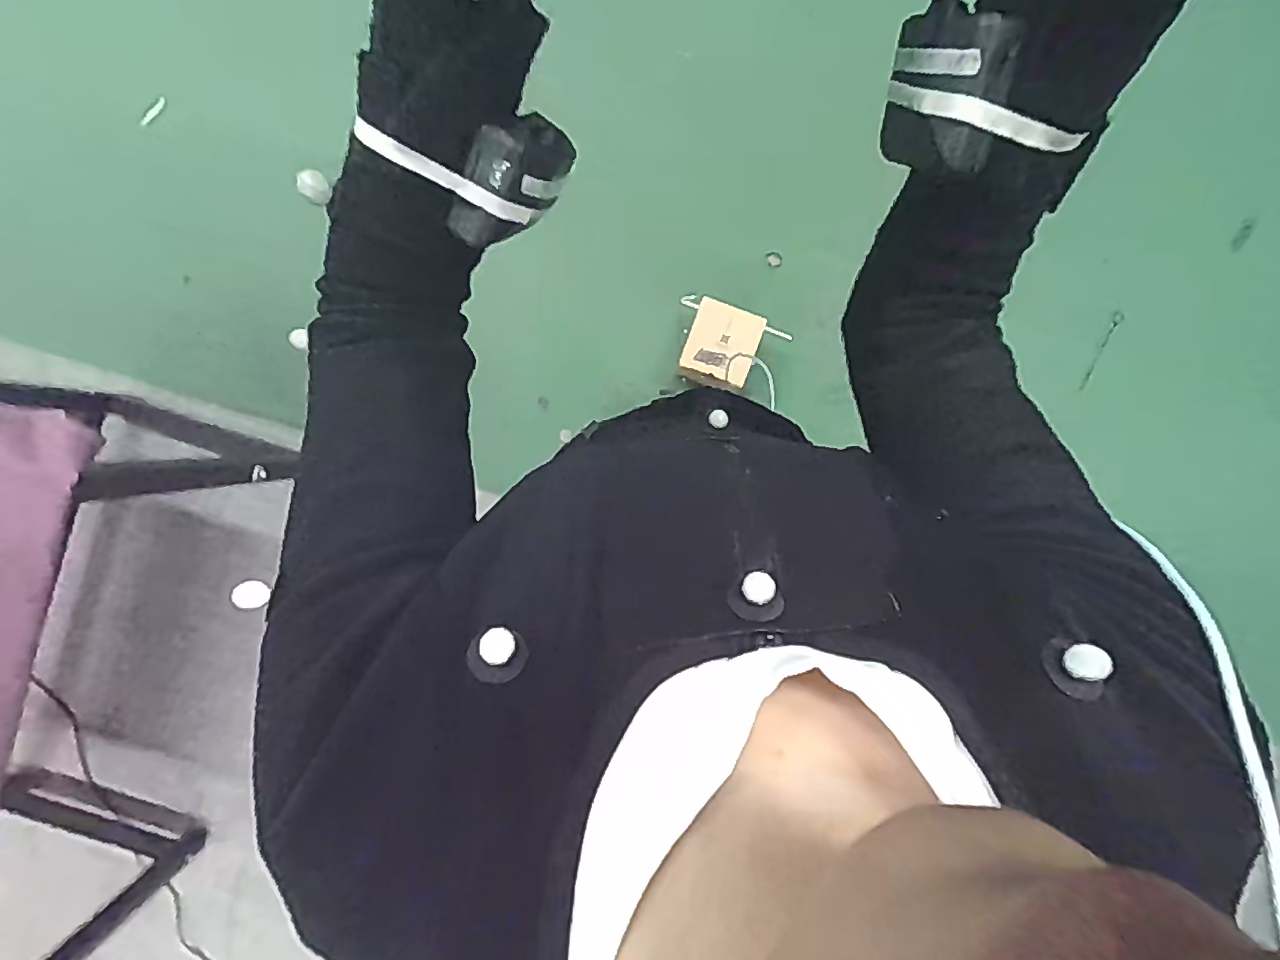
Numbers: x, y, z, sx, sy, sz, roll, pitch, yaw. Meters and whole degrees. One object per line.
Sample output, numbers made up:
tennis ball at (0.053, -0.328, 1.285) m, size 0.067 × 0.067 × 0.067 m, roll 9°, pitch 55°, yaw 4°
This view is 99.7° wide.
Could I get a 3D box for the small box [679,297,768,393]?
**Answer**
small box at (0.202, -0.331, 1.371) m, size 0.168 × 0.176 × 0.179 m, roll 20°, pitch 93°, yaw -2°
